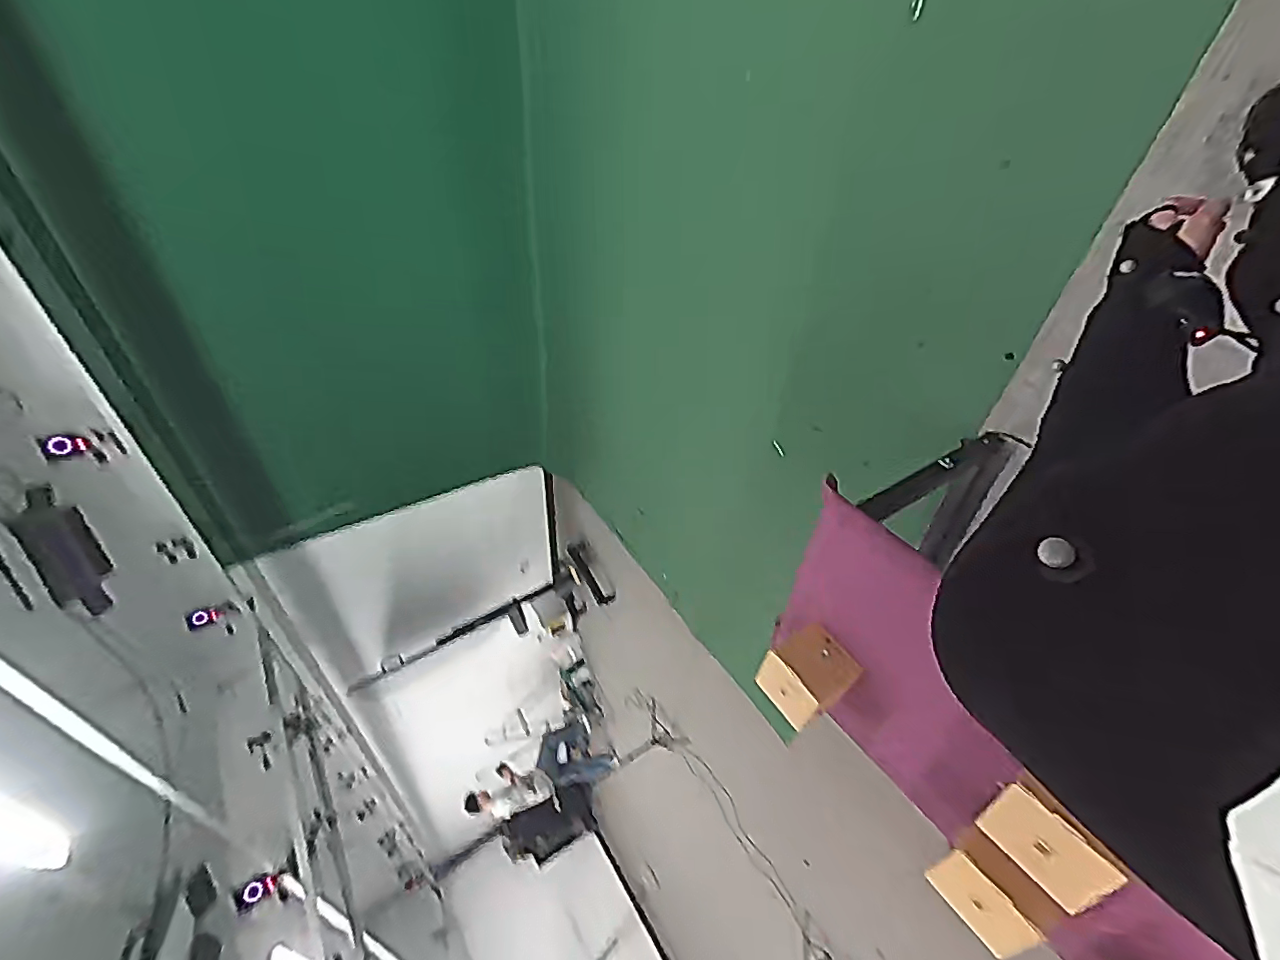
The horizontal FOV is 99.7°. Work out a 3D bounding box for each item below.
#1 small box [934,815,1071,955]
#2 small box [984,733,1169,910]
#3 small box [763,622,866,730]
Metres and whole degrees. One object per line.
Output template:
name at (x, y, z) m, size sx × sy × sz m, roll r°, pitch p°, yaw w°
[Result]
small box at (0.745, 0.797, 1.092) m, size 0.168 × 0.176 × 0.179 m, roll 45°, pitch 144°, yaw 39°
small box at (0.744, 0.574, 0.924) m, size 0.168 × 0.176 × 0.179 m, roll 43°, pitch 146°, yaw 41°
small box at (0.454, 0.507, 1.412) m, size 0.168 × 0.176 × 0.179 m, roll 47°, pitch 146°, yaw 34°
